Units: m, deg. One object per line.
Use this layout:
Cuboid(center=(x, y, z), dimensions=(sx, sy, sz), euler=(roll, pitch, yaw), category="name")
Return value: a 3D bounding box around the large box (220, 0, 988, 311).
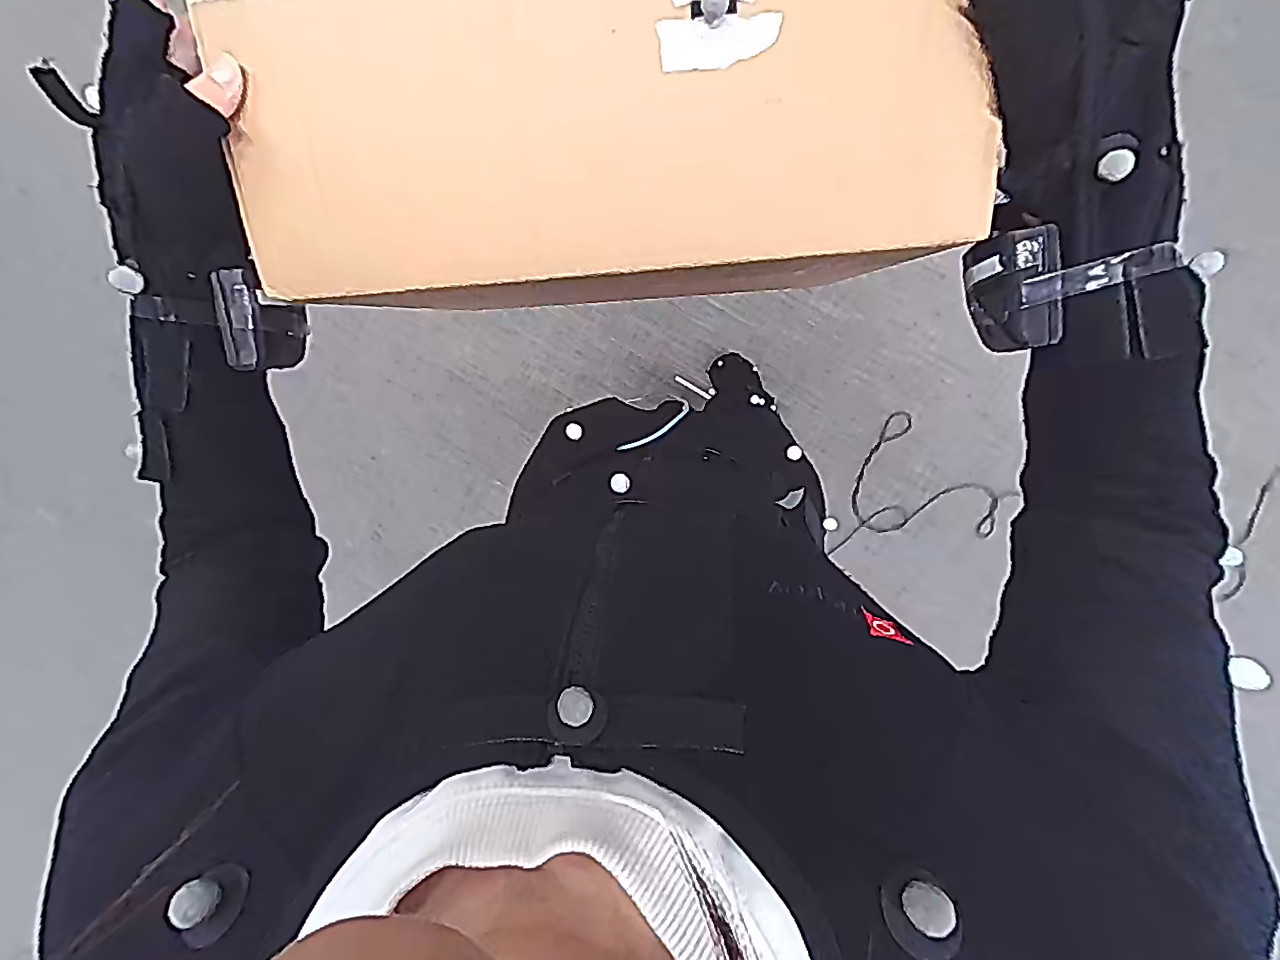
Cuboid(center=(-0.020, -0.315, 0.414), dimensions=(0.408, 0.320, 0.320), euler=(-4, 106, 5), category="large box")
